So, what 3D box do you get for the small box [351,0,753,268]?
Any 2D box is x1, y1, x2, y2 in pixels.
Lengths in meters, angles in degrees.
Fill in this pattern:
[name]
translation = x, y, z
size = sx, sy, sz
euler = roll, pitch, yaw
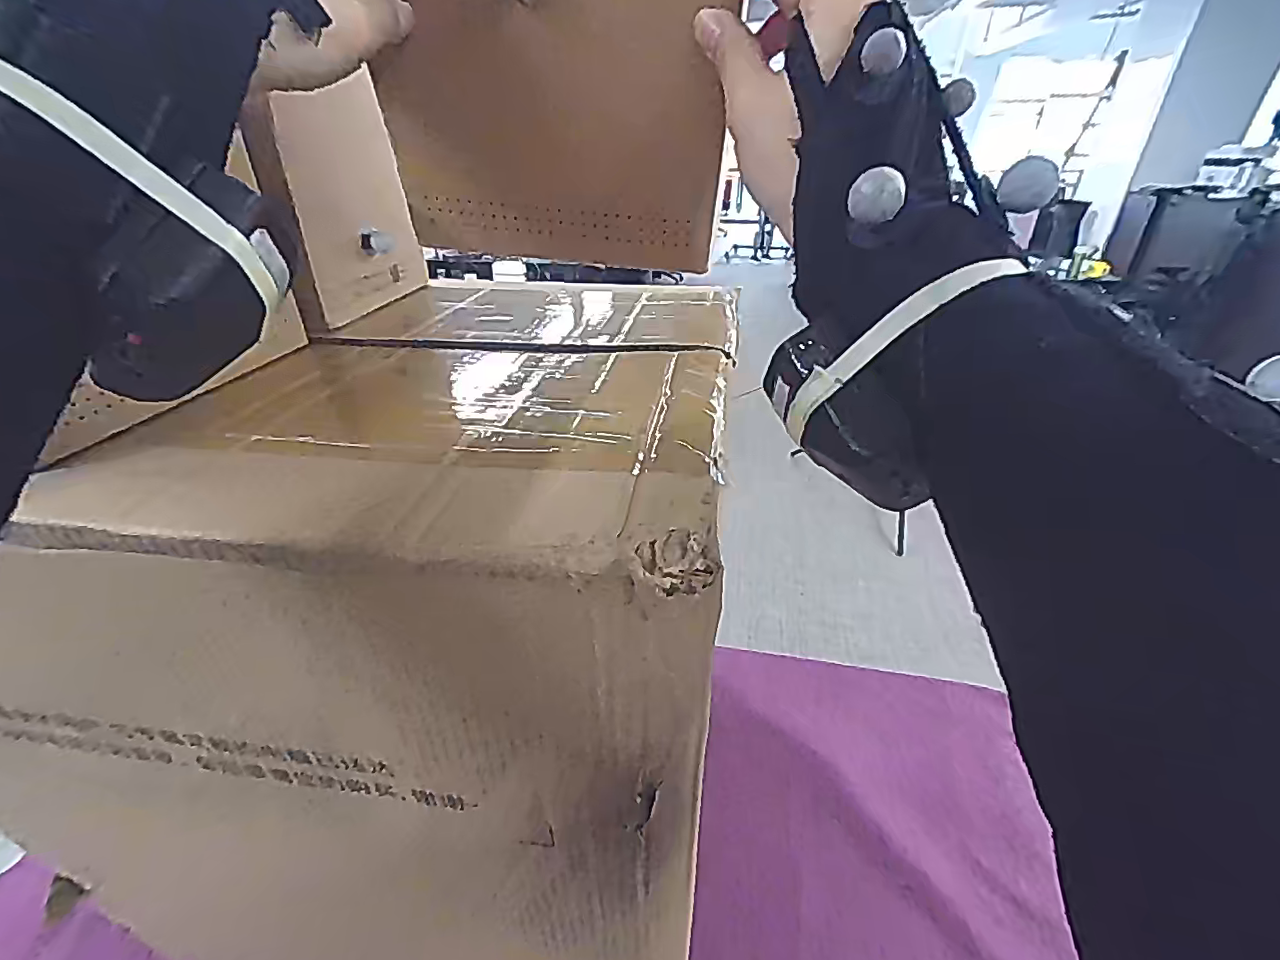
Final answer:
[small box]
translation = -0.029, -0.239, 0.303
size = 0.179, 0.176, 0.168
euler = 8, 50, 6
